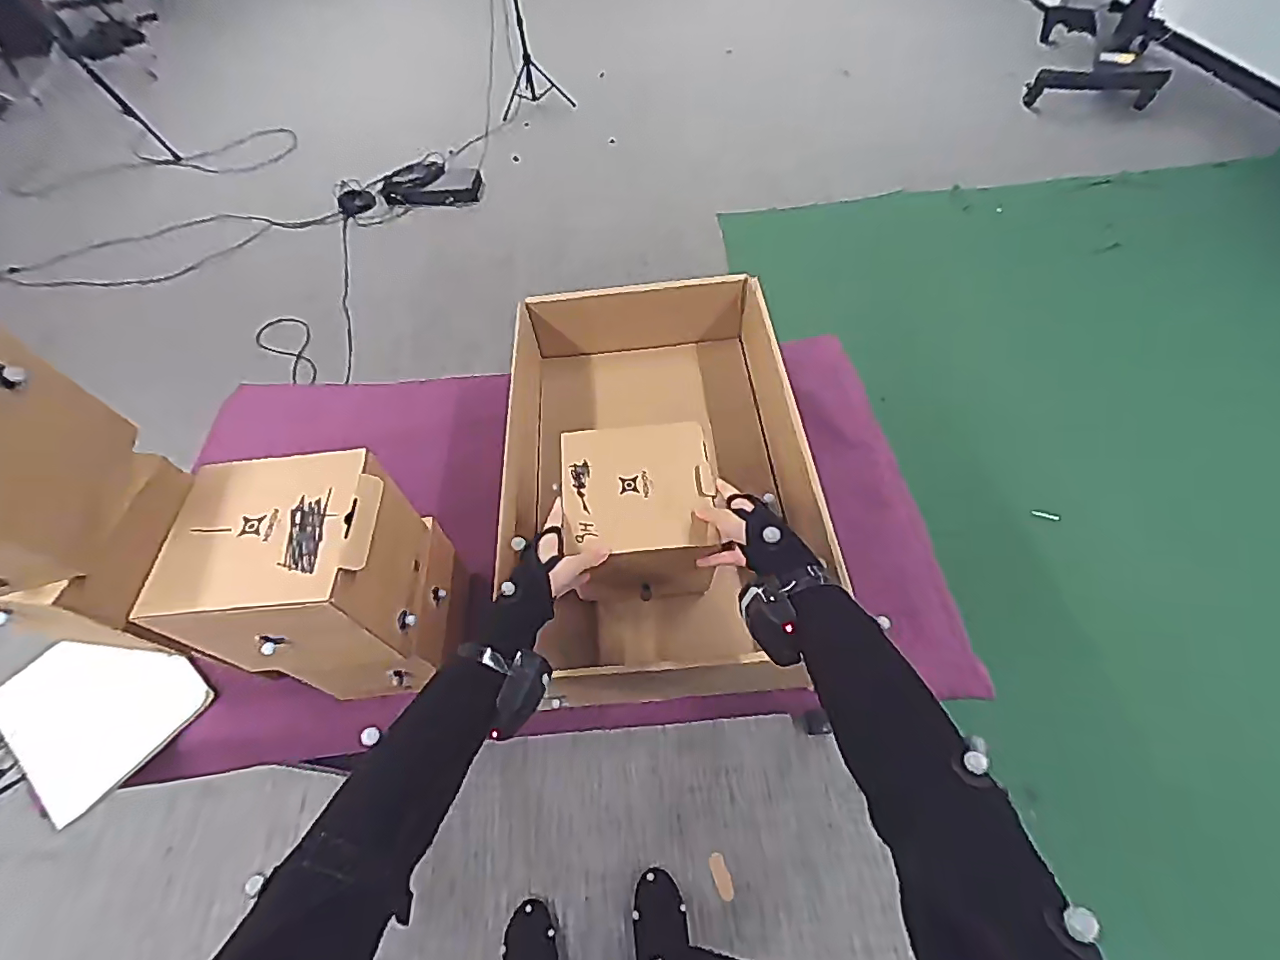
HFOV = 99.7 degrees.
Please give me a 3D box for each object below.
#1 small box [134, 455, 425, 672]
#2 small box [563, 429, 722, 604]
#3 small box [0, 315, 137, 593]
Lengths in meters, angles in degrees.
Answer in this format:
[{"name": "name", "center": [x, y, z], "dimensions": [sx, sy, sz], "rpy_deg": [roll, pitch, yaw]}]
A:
[{"name": "small box", "center": [-0.348, 0.093, 0.571], "dimensions": [0.179, 0.176, 0.168], "rpy_deg": [-5, 54, -1]}, {"name": "small box", "center": [-0.001, 0.052, 0.693], "dimensions": [0.179, 0.176, 0.168], "rpy_deg": [-4, 60, -1]}, {"name": "small box", "center": [-0.594, -0.013, 0.461], "dimensions": [0.168, 0.176, 0.179], "rpy_deg": [-14, 56, -4]}]
